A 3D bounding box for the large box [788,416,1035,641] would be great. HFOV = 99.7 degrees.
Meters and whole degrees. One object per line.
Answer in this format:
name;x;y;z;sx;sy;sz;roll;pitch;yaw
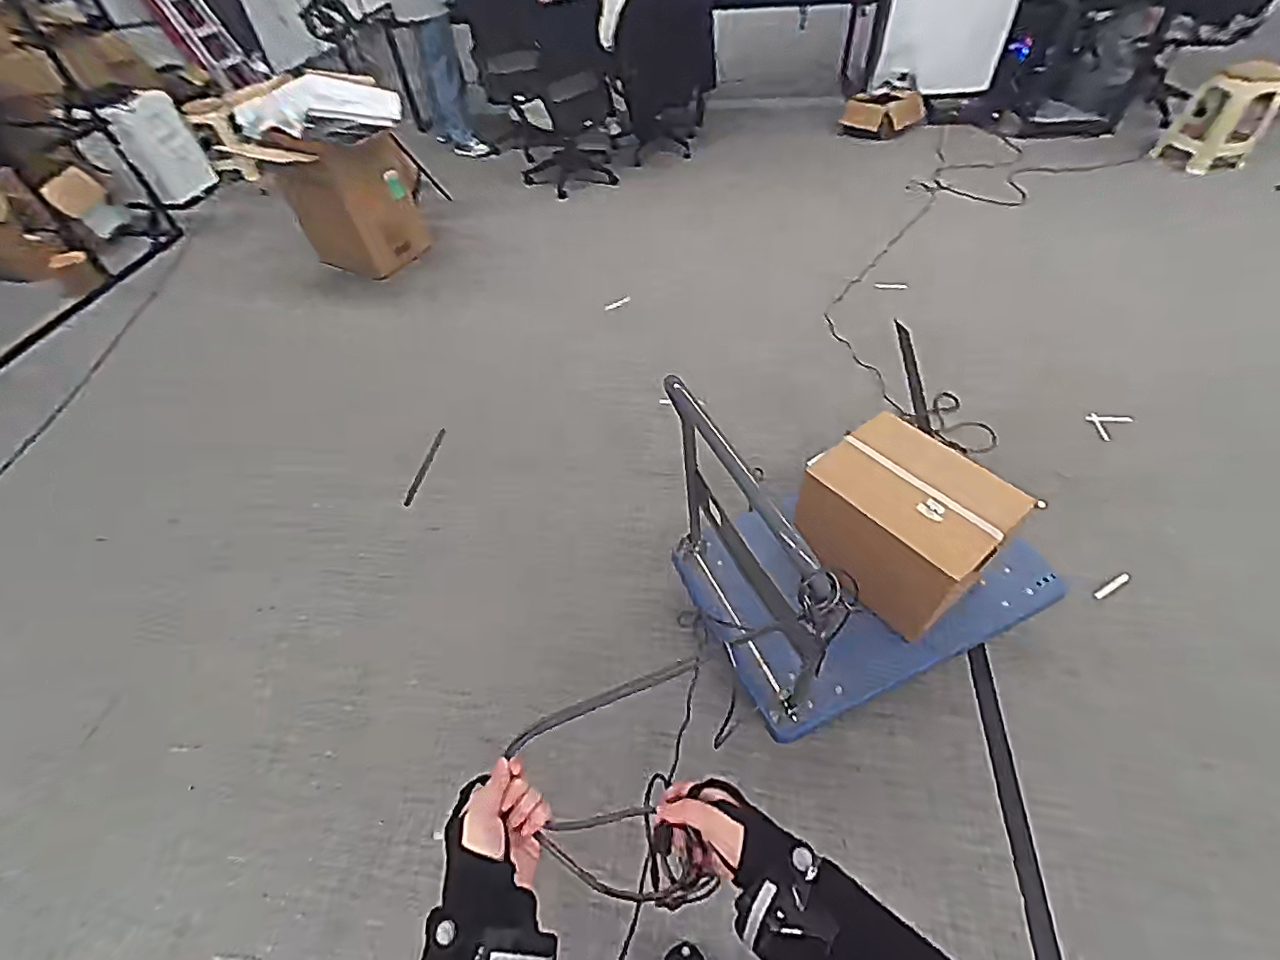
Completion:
large box;0.643;0.113;1.357;0.320;0.320;0.408;-33;55;-20
